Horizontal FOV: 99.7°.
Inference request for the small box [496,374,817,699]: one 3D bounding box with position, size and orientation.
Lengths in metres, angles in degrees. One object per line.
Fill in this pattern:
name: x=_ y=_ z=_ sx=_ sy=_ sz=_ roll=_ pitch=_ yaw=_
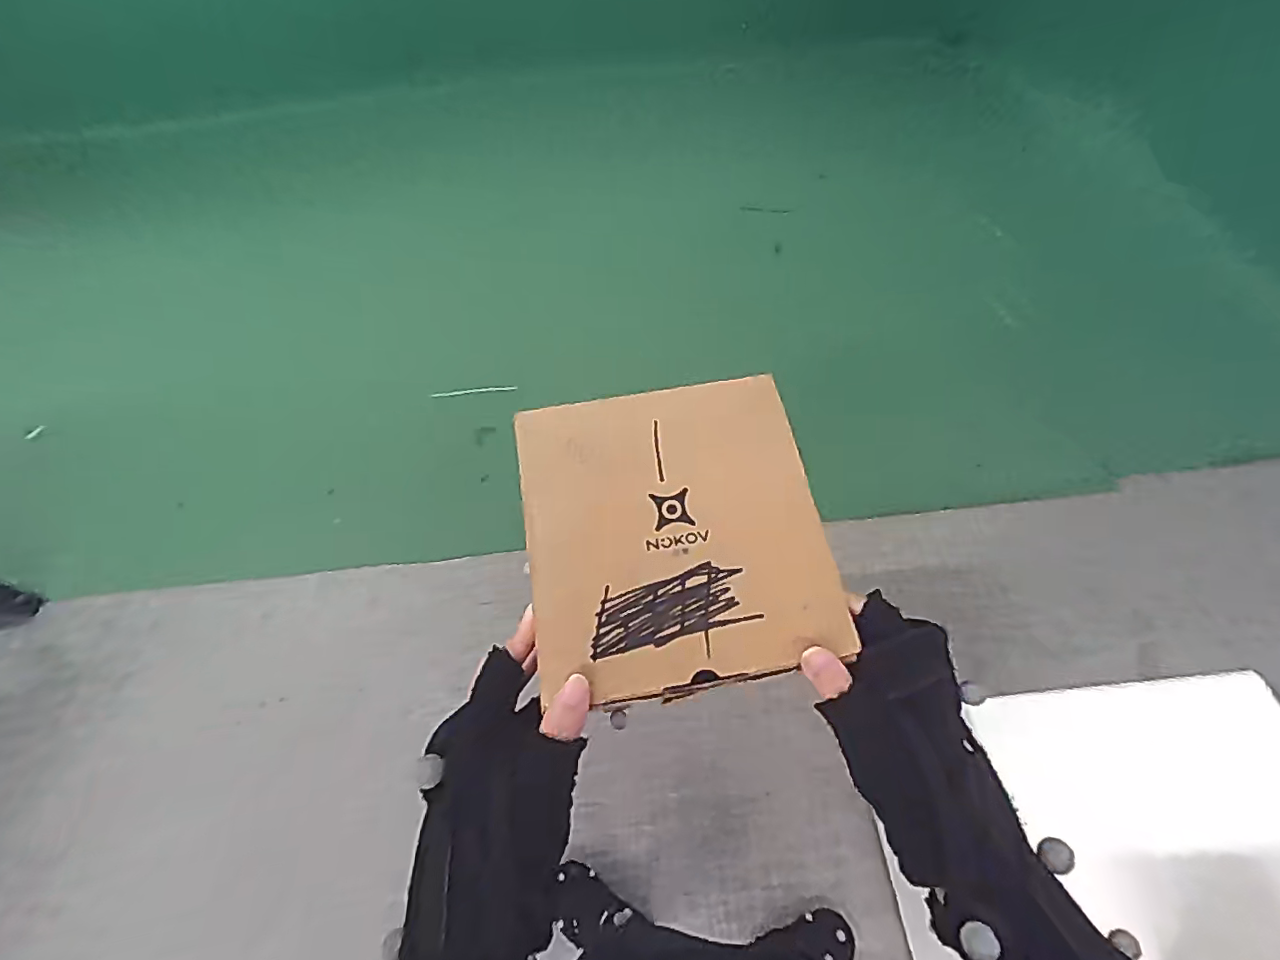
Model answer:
small box: x=0.003 y=0.053 z=0.388 sx=0.168 sy=0.176 sz=0.179 roll=-9 pitch=66 yaw=-4
